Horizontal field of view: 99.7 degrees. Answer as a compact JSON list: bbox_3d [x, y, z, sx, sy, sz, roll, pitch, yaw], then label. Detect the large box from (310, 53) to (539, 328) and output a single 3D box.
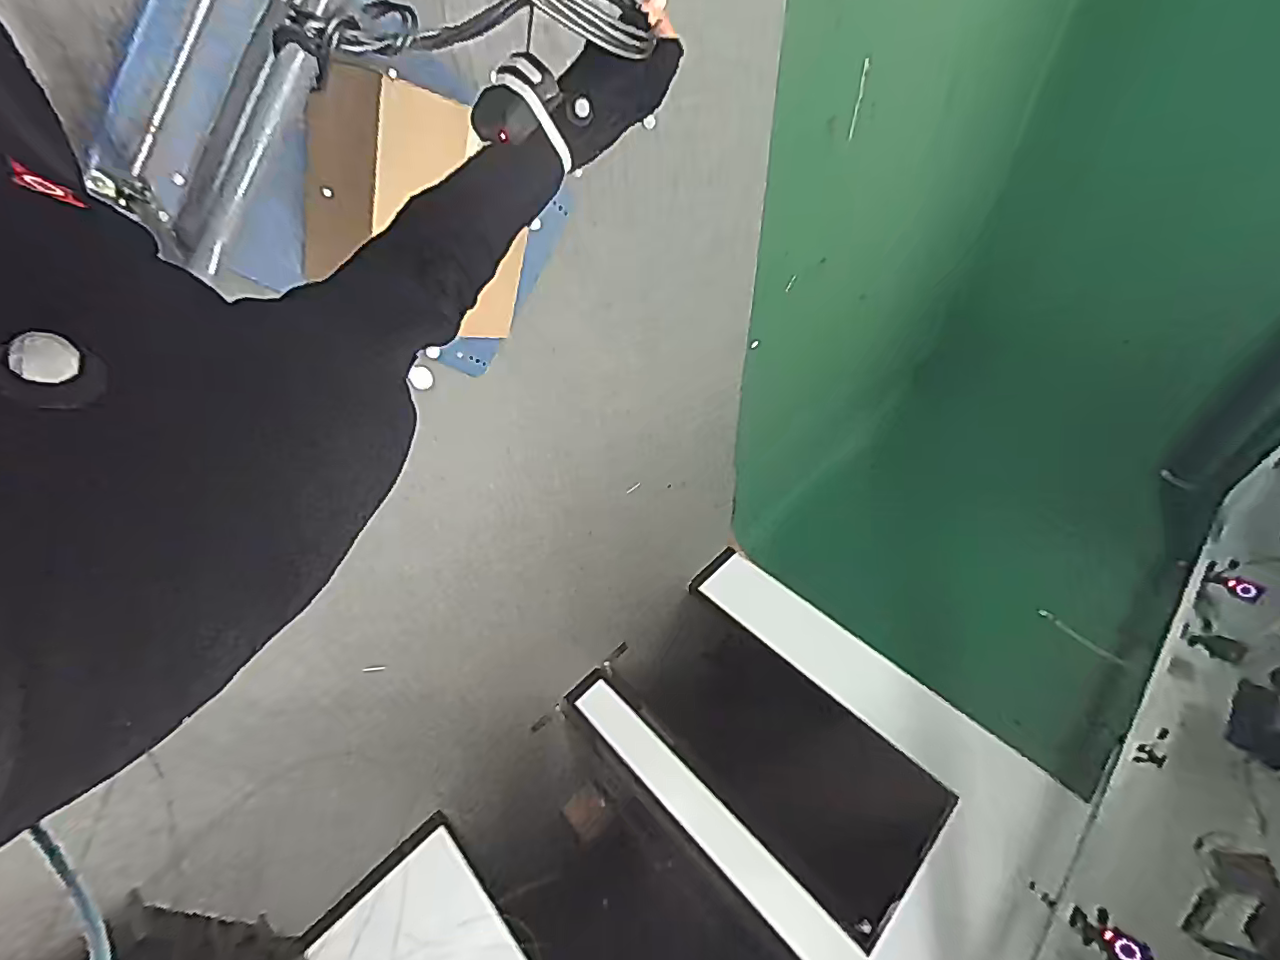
[{"bbox_3d":[-0.450,-0.557,1.095,0.320,0.320,0.408,-13,130,-47],"label":"large box"}]
